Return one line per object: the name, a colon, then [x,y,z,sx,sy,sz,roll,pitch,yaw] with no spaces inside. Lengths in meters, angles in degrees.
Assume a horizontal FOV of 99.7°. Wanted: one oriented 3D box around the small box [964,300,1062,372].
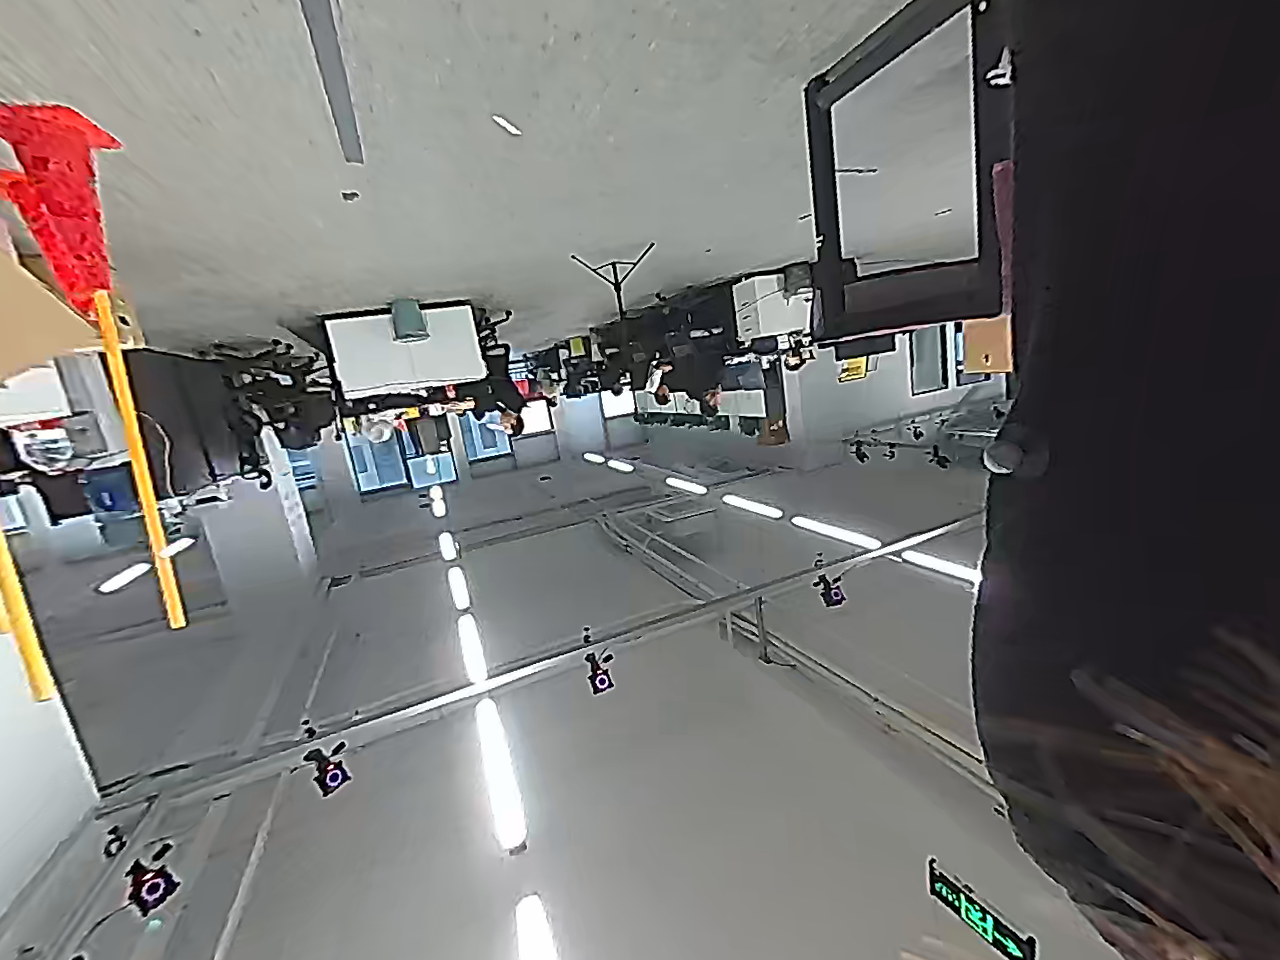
small box: [1.045,-0.407,1.529,0.168,0.176,0.179,-11,-168,-9]
